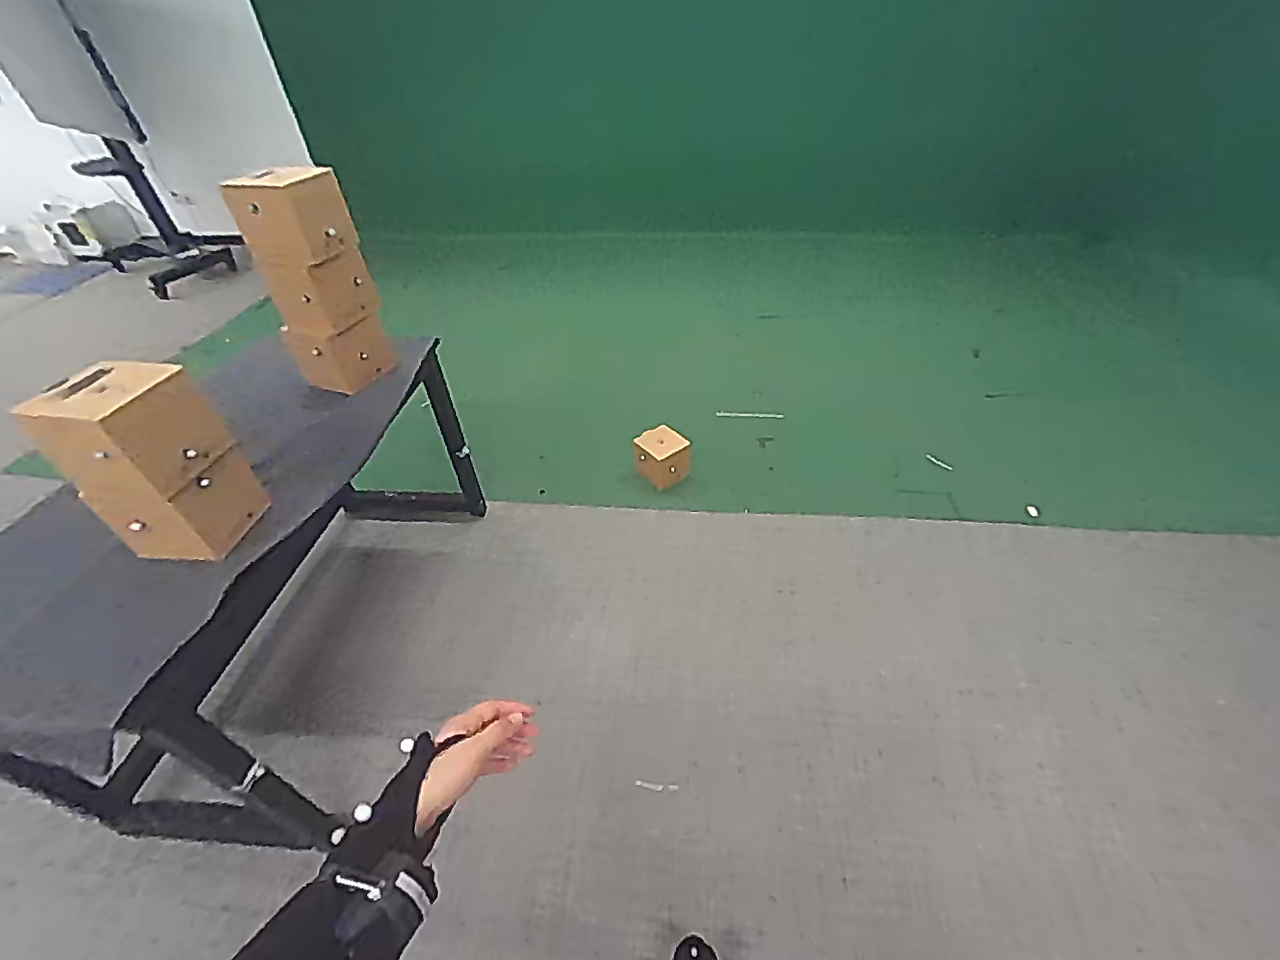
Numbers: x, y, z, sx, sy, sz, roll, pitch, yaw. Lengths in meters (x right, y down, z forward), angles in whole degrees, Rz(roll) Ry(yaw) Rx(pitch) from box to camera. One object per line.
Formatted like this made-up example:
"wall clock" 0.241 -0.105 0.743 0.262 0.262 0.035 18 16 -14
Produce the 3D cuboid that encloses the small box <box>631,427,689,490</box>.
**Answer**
"small box" 0.084 -0.082 2.214 0.168 0.176 0.179 -30 47 -26

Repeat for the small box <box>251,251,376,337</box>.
"small box" -0.809 -0.473 1.361 0.179 0.176 0.168 10 42 19

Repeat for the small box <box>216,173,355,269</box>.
"small box" -0.812 -0.601 1.257 0.179 0.176 0.168 7 42 13

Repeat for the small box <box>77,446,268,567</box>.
"small box" -0.869 0.051 1.027 0.179 0.176 0.168 1 42 6

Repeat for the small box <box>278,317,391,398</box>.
"small box" -0.811 -0.340 1.455 0.179 0.176 0.168 14 44 22
